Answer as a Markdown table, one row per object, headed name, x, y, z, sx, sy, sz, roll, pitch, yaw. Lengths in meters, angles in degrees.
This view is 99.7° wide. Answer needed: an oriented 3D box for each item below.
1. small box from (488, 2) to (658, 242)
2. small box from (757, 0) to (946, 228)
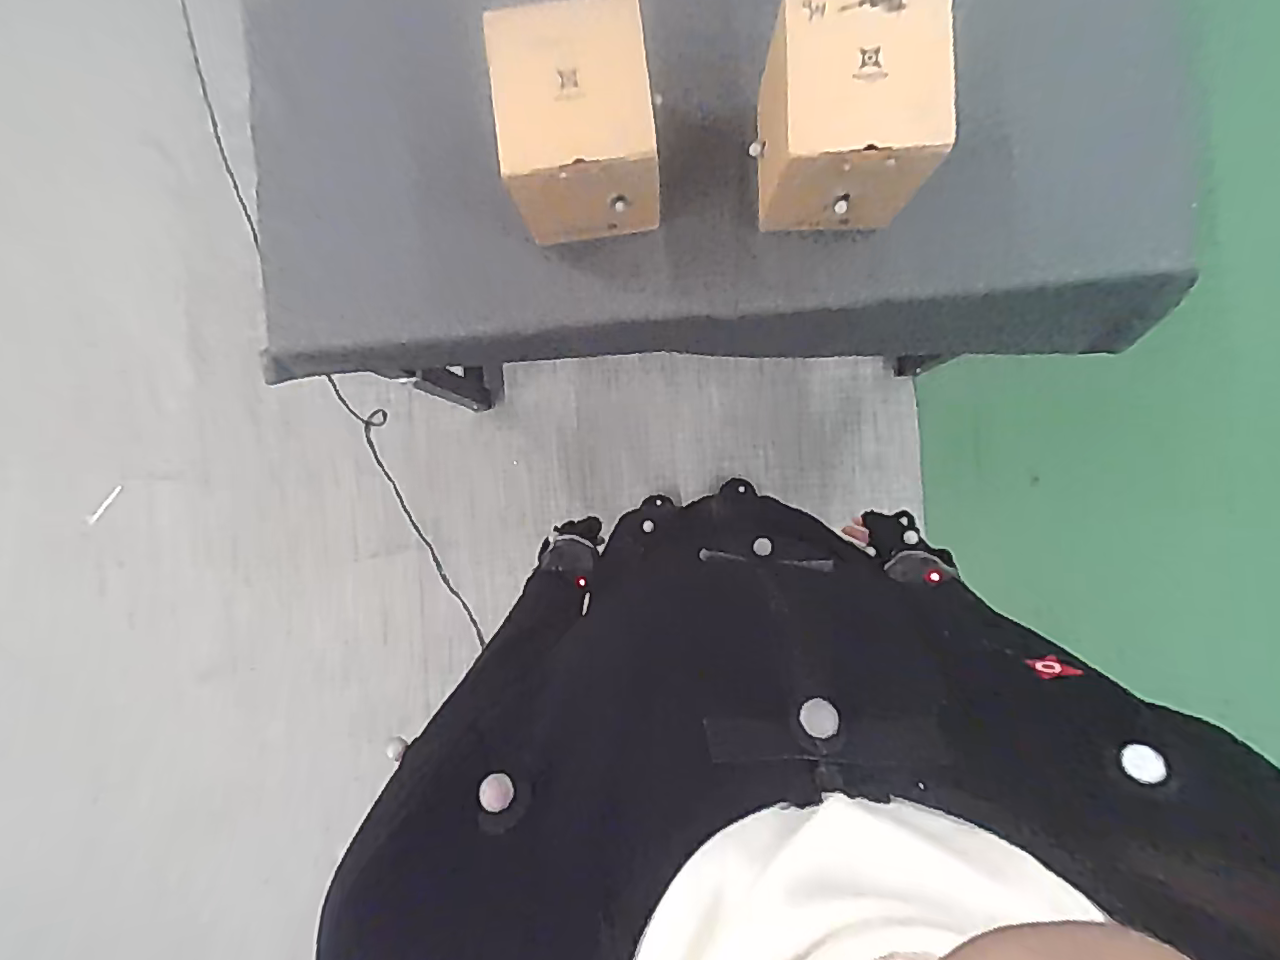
| name | x | y | z | sx | sy | sz | roll | pitch | yaw |
| --- | --- | --- | --- | --- | --- | --- | --- | --- | --- |
| small box | -0.069 | -0.408 | 0.653 | 0.168 | 0.176 | 0.179 | -8 | 88 | 2 |
| small box | 0.233 | -0.413 | 0.633 | 0.168 | 0.176 | 0.179 | -1 | 90 | 3 |
